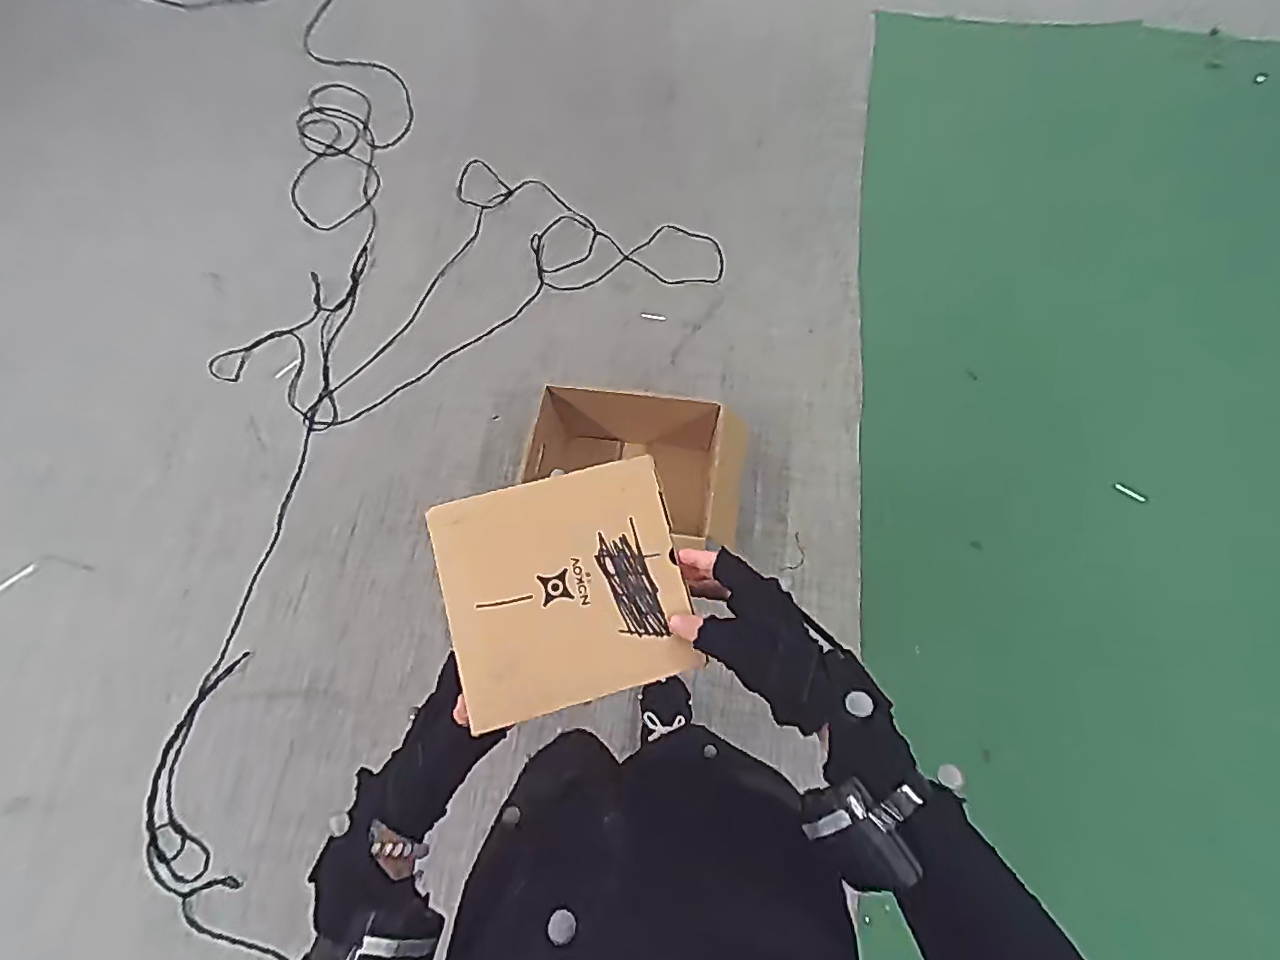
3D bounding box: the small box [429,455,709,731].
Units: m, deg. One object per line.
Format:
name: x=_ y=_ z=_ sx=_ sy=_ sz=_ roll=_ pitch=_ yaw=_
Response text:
small box: x=-0.060 y=0.090 z=0.470 sx=0.179 sy=0.176 sz=0.168 roll=-14 pitch=81 yaw=-8
